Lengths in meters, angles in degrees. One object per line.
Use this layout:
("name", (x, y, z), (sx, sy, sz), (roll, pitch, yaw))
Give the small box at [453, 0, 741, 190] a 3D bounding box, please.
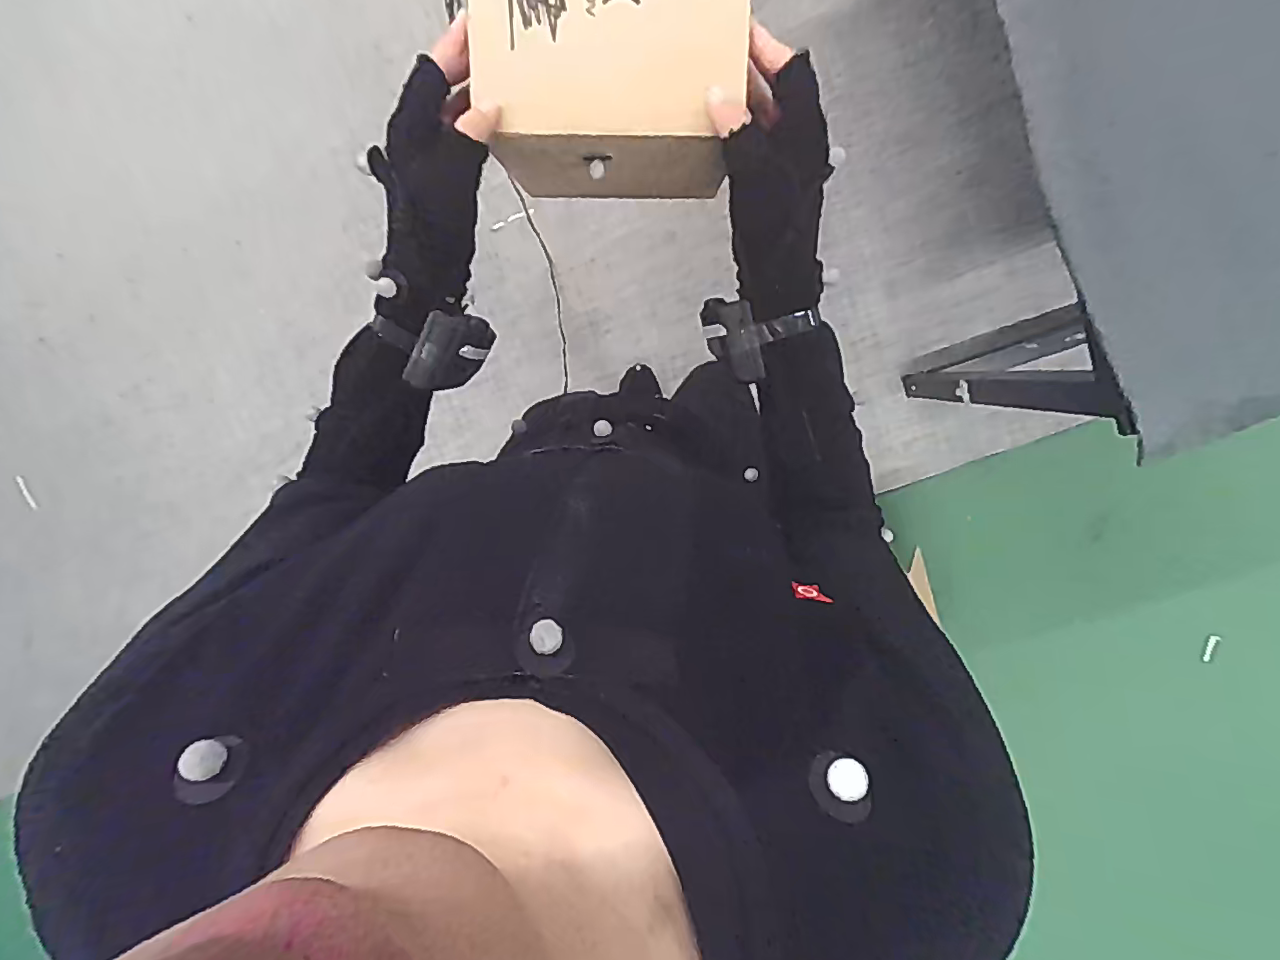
("small box", (-0.024, -0.323, 0.395), (0.179, 0.176, 0.168), (1, 105, 0))
